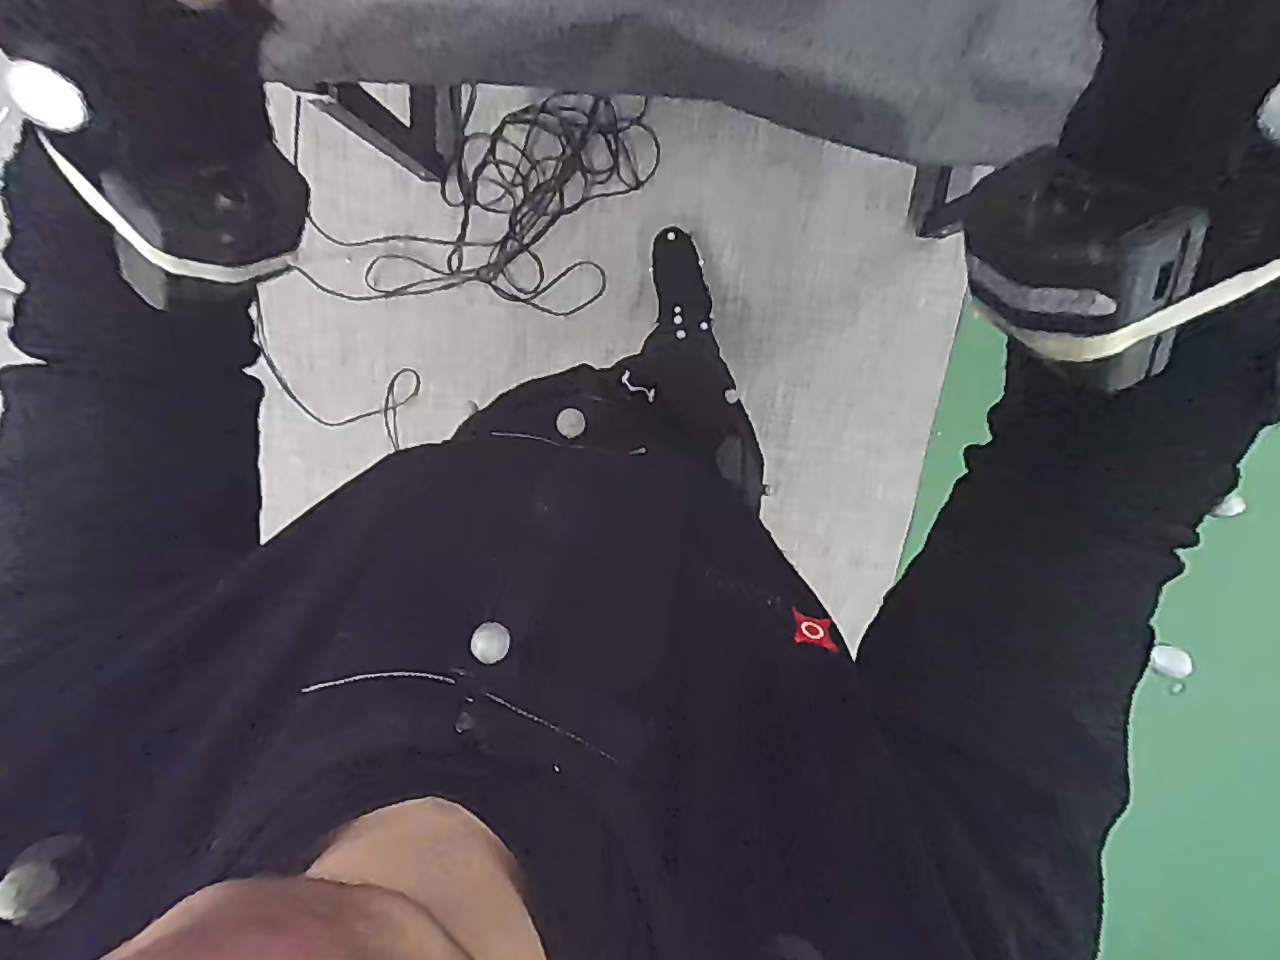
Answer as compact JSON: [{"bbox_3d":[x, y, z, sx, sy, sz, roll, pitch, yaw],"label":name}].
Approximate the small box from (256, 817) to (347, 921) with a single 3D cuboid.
[{"bbox_3d":[-0.980,1.125,1.575,0.168,0.176,0.179,11,105,-1],"label":"small box"}]
